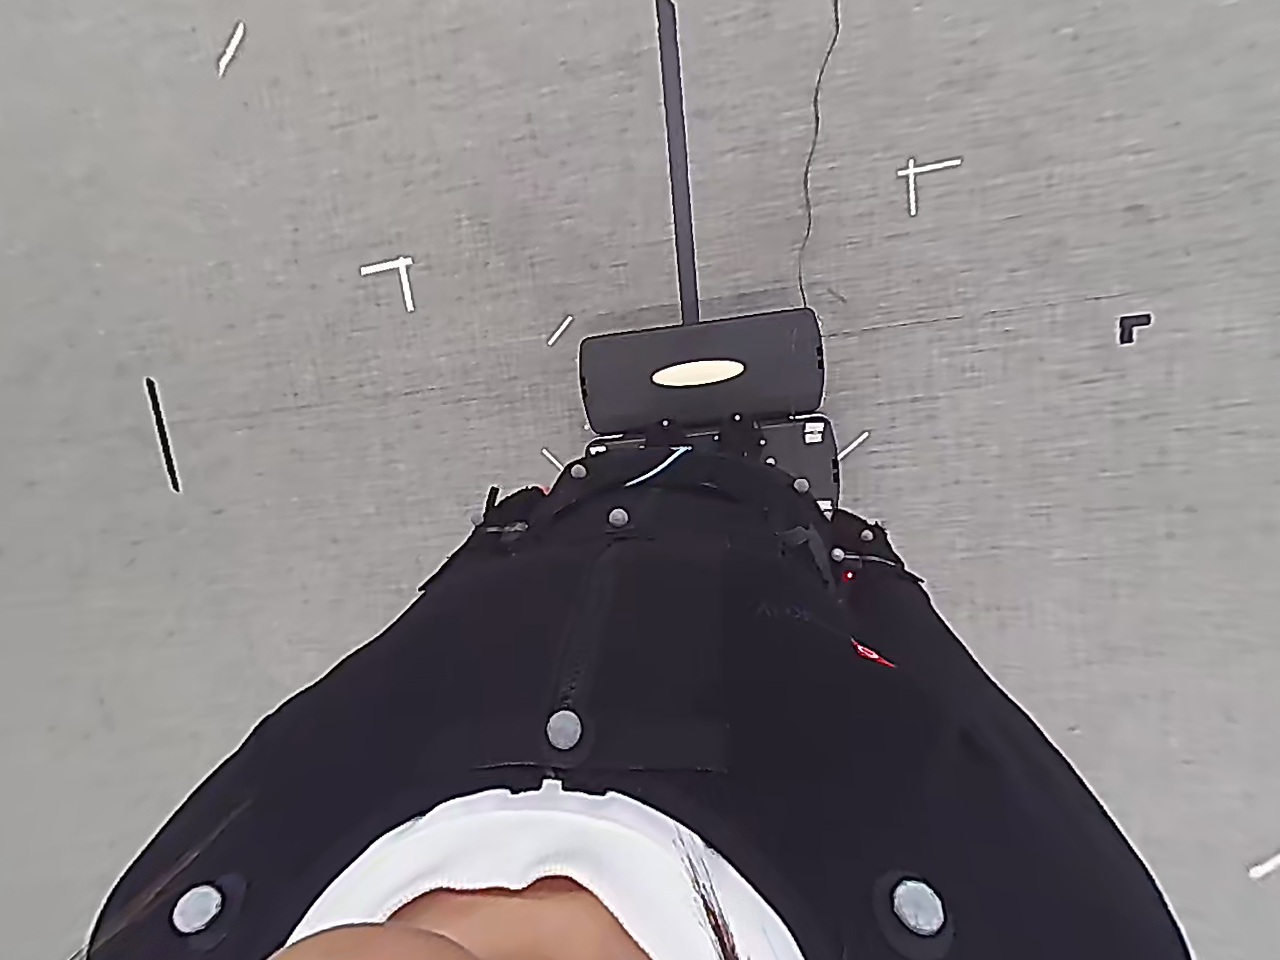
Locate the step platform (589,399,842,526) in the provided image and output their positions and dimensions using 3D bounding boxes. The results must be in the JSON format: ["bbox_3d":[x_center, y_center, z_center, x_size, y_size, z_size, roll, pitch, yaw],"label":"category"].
[{"bbox_3d":[0.201,-0.045,1.509,0.684,0.204,0.286,-6,97,11],"label":"step platform"}]
